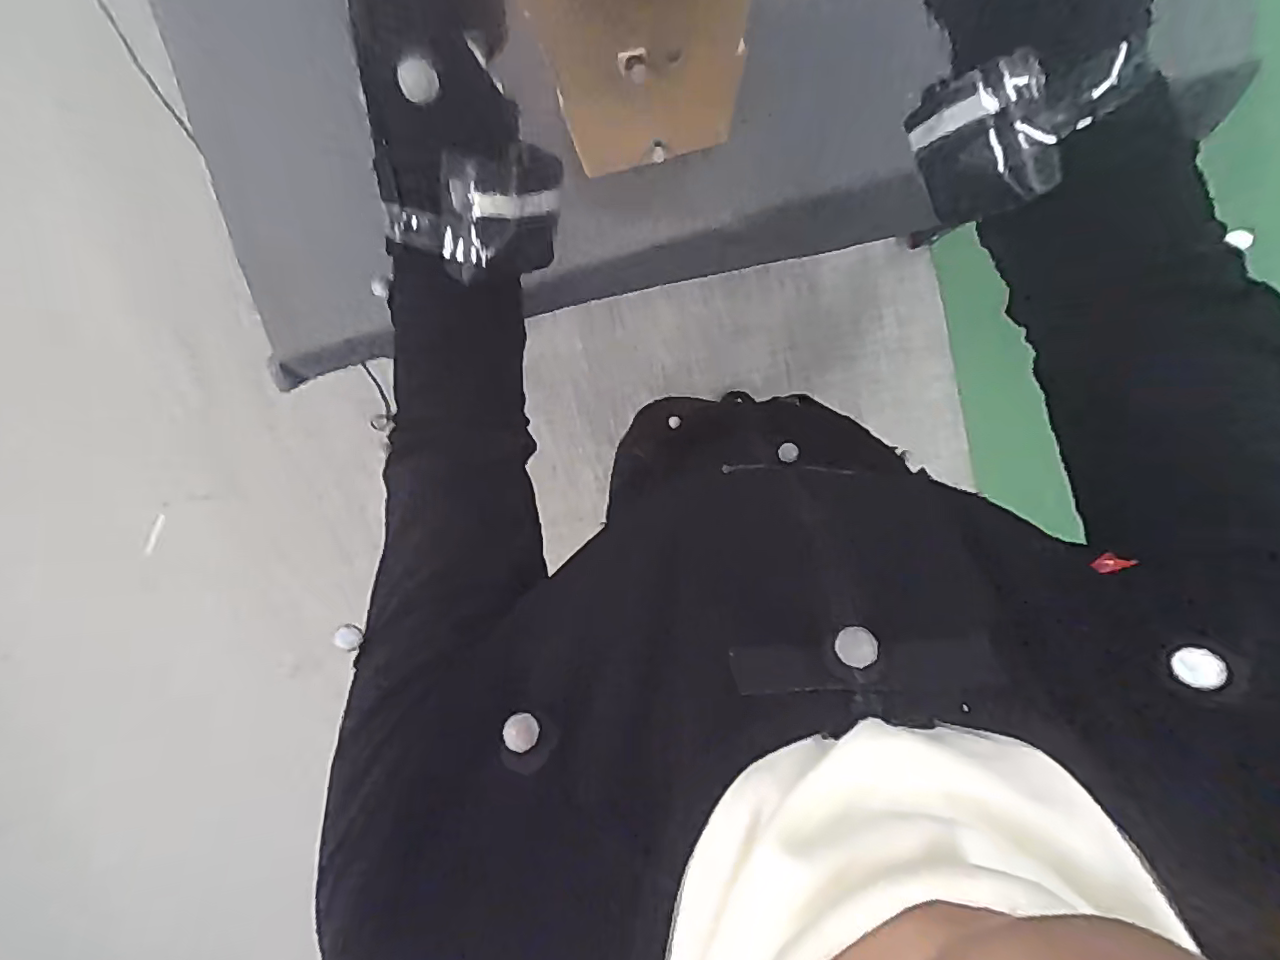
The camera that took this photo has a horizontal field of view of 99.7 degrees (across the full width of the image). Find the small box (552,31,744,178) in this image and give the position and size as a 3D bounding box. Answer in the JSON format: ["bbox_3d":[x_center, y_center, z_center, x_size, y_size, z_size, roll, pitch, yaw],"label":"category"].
[{"bbox_3d":[-0.003,-0.453,0.568,0.179,0.176,0.168,-13,96,5],"label":"small box"}]

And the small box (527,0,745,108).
[{"bbox_3d":[-0.018,-0.434,0.407,0.168,0.176,0.179,-15,97,8],"label":"small box"}]
